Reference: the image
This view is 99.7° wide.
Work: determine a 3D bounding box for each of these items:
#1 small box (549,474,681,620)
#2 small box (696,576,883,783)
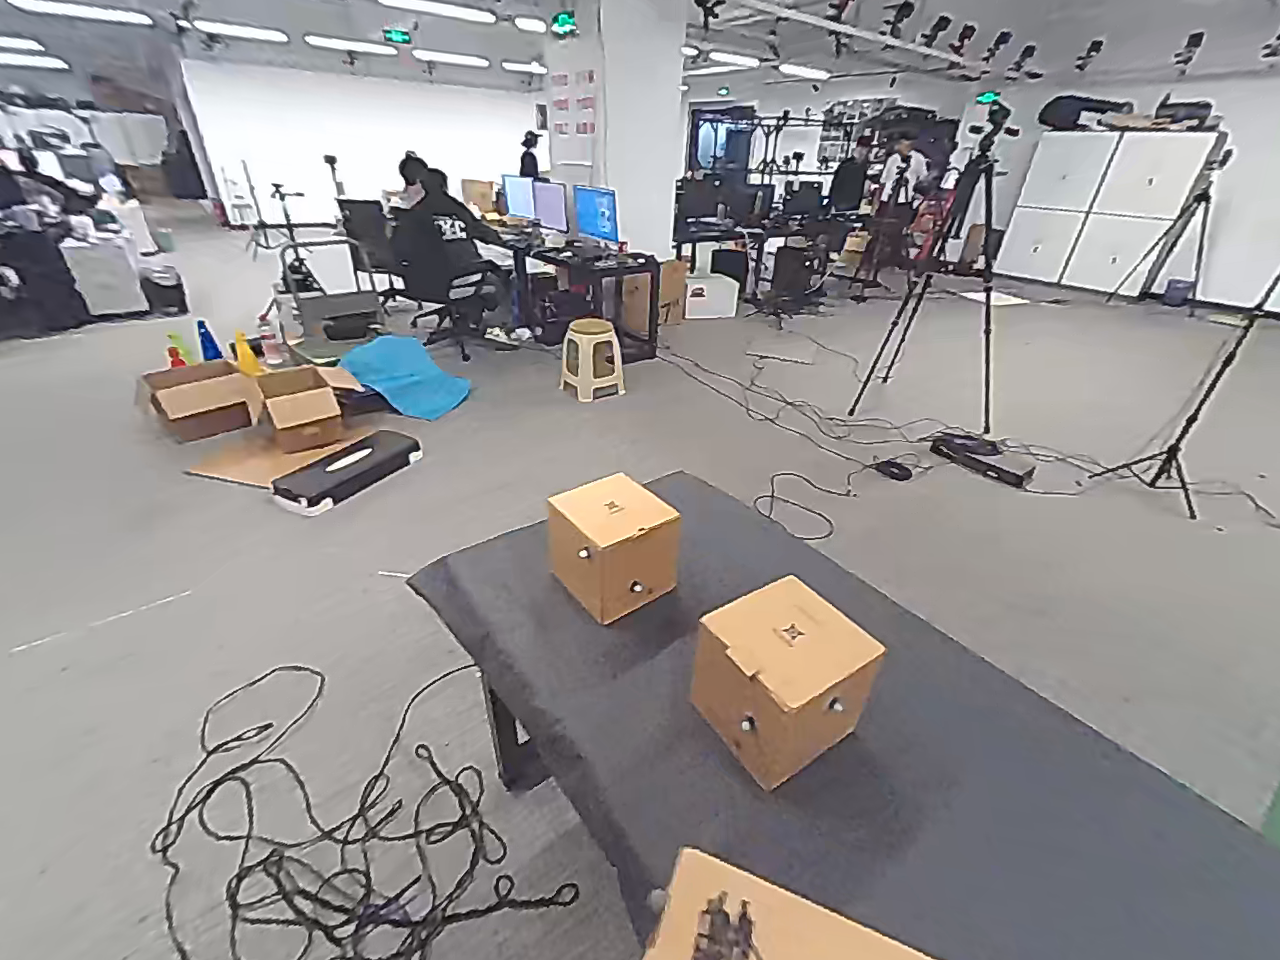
[{"bbox_3d":[-0.050,0.116,0.973,0.168,0.176,0.179,-21,38,-33],"label":"small box"},{"bbox_3d":[0.191,0.267,0.738,0.179,0.176,0.168,-16,37,-30],"label":"small box"}]
